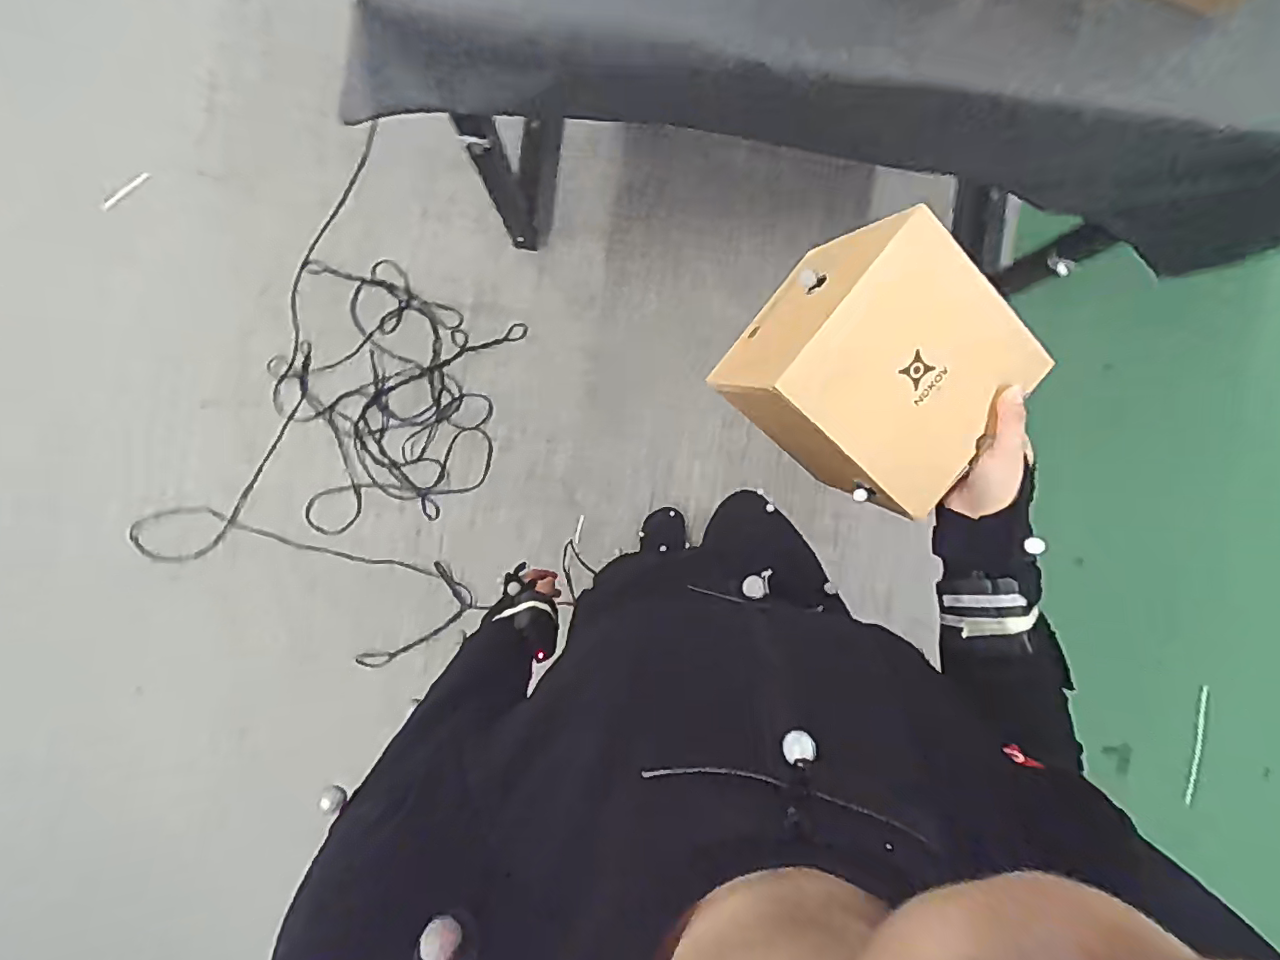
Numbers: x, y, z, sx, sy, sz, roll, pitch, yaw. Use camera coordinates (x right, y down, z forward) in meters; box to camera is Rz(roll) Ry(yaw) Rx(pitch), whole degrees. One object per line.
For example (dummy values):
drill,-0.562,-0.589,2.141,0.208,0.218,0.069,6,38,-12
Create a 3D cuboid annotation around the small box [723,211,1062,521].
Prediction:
small box,0.203,-0.094,0.483,0.179,0.176,0.168,38,93,-16
